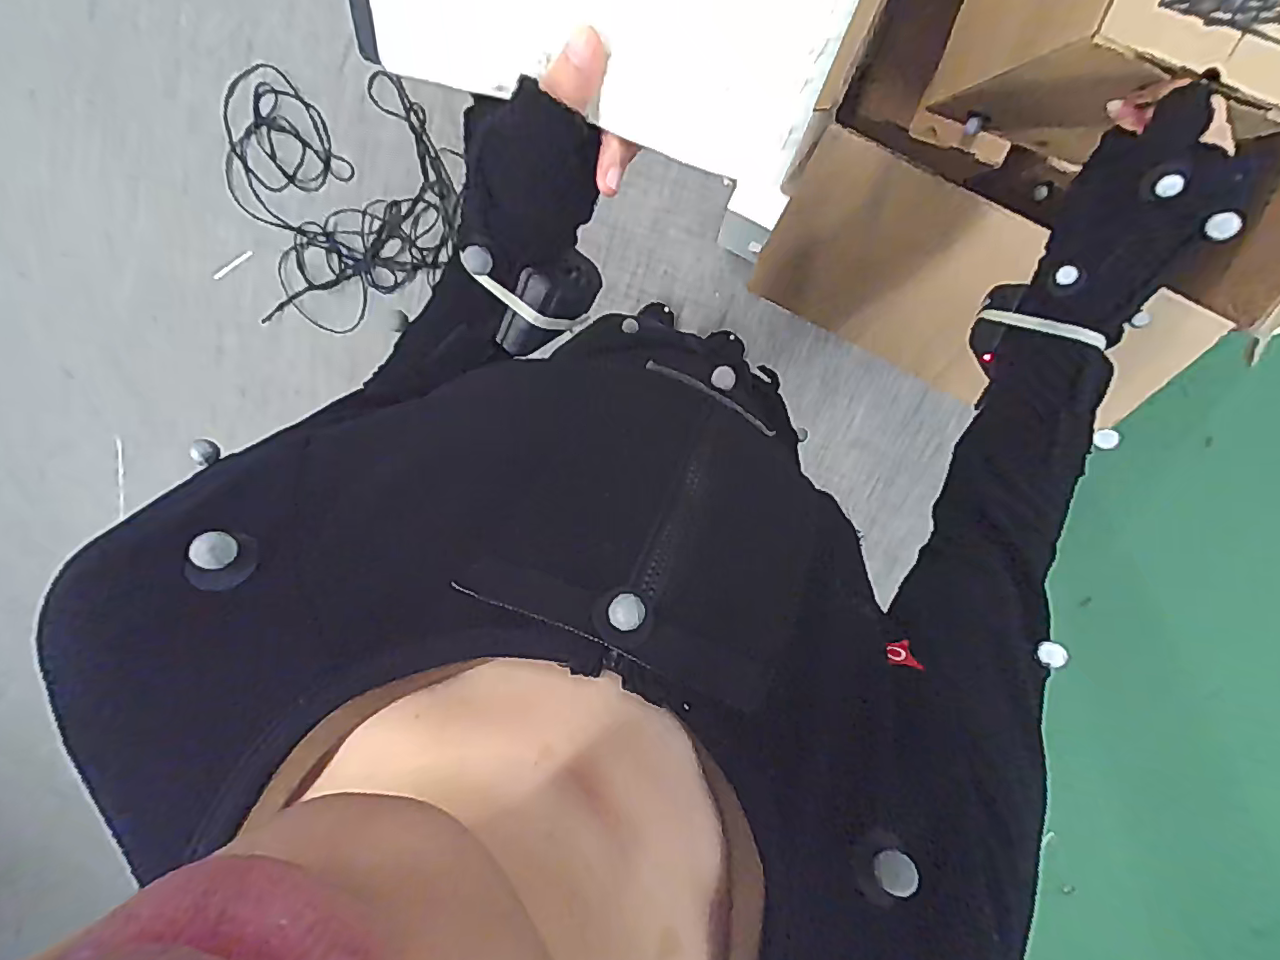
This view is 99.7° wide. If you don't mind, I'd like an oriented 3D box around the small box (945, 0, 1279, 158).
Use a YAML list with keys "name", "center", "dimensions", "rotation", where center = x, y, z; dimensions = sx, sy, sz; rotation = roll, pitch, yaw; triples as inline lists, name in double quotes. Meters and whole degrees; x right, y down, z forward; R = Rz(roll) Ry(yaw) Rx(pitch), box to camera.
- name: "small box"
  center: [0.347, -0.343, 0.363]
  dimensions: [0.168, 0.176, 0.179]
  rotation: [11, 110, -11]
